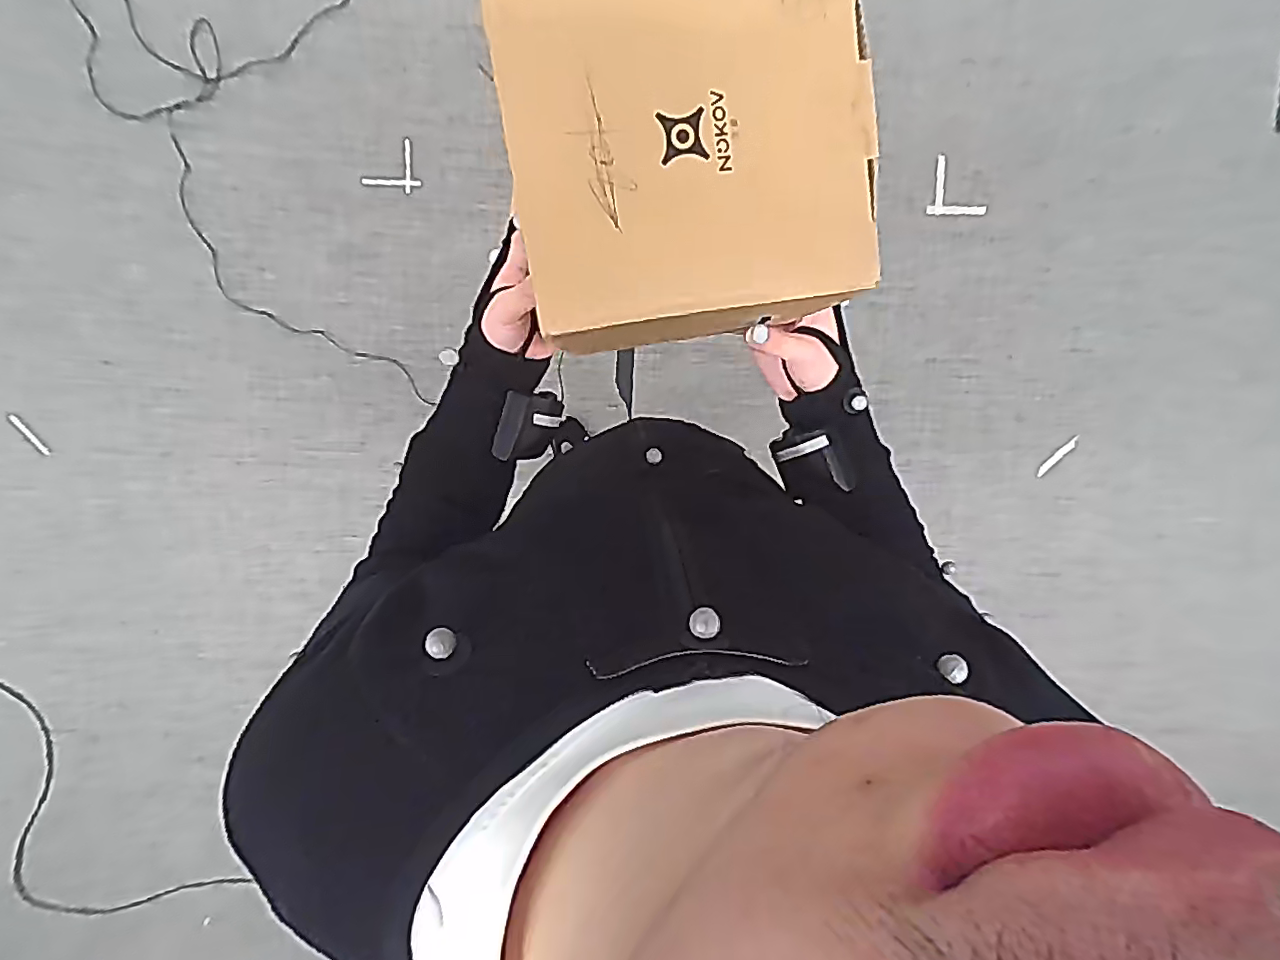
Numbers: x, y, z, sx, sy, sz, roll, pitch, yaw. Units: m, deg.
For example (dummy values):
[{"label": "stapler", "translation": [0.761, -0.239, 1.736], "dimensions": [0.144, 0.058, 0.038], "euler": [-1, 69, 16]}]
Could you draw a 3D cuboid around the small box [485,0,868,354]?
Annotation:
[{"label": "small box", "translation": [0.019, -0.181, 0.348], "dimensions": [0.179, 0.176, 0.168], "euler": [-10, 99, -1]}]
